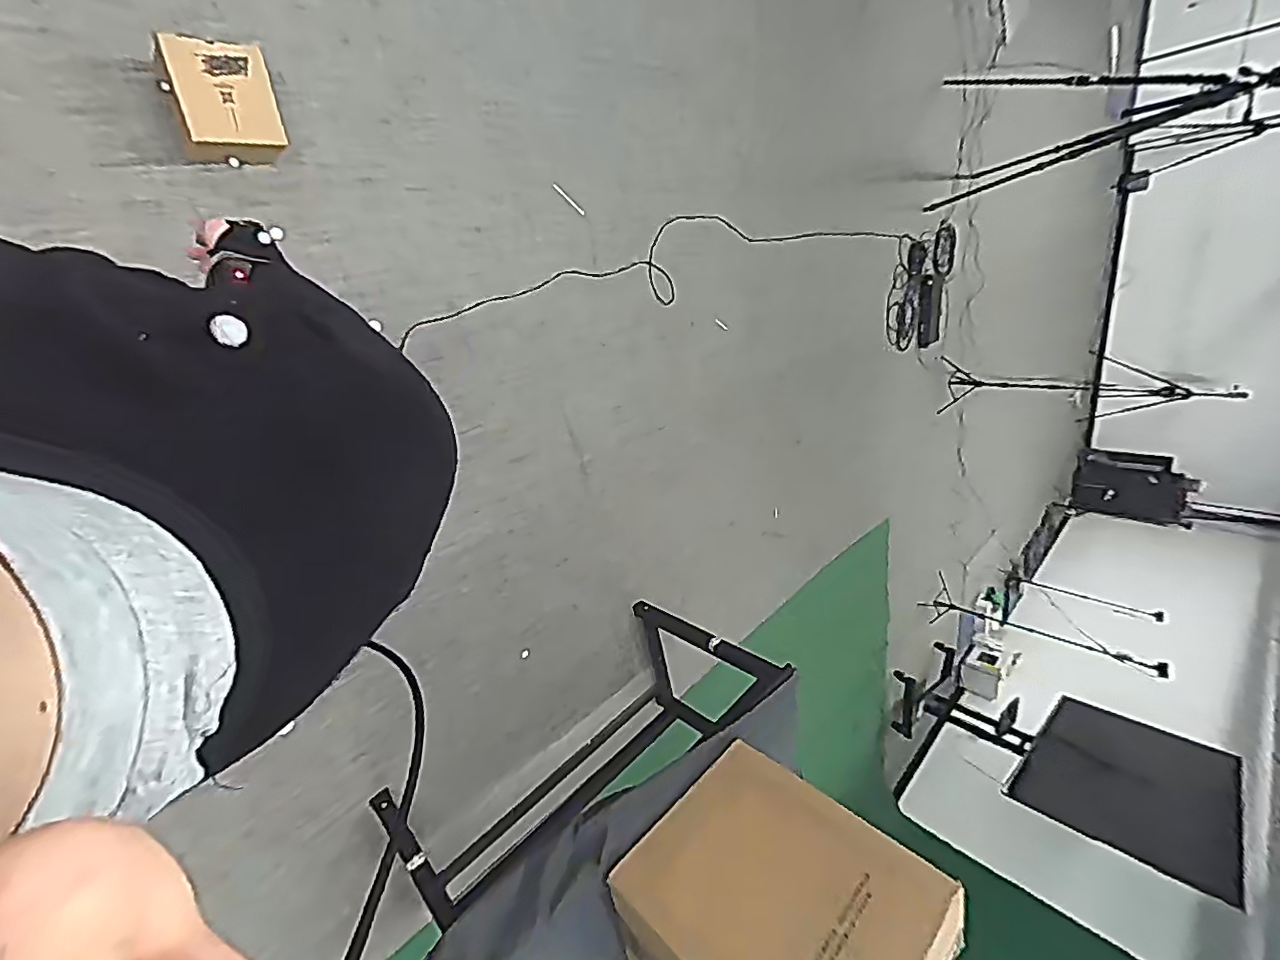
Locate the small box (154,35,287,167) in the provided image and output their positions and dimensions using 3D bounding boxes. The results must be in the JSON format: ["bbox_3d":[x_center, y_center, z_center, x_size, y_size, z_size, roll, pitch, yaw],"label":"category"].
[{"bbox_3d":[-0.859,-0.761,1.106,0.168,0.176,0.179,-24,116,-36],"label":"small box"}]
